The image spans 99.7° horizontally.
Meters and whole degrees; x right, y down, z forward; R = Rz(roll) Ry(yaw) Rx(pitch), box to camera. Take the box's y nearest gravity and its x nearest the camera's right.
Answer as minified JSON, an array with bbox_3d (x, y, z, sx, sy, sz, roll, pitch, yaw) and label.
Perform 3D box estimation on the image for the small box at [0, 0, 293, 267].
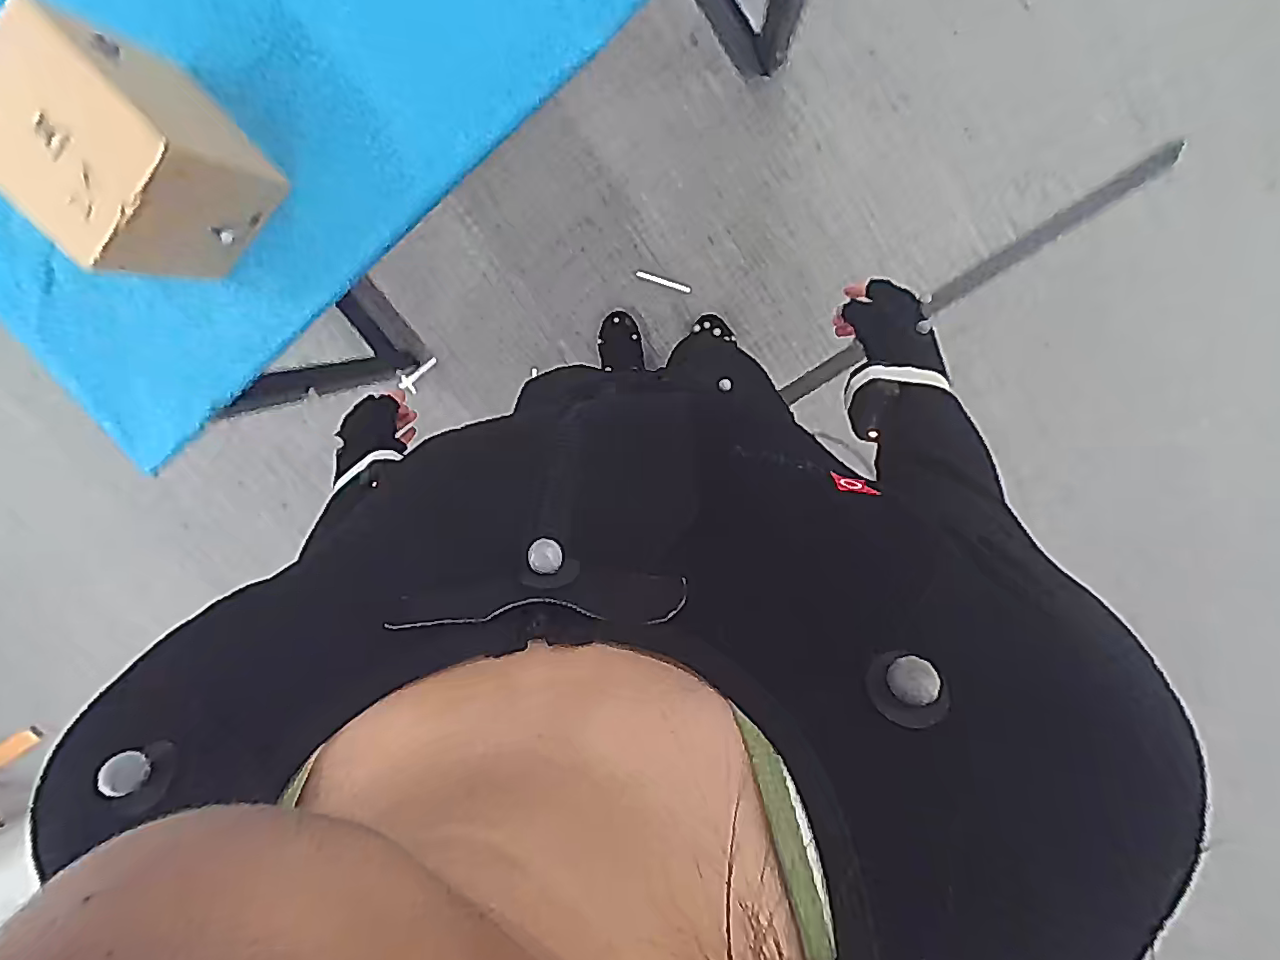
[{"bbox_3d":[-0.542,-0.355,0.593,0.168,0.176,0.179,-35,103,16],"label":"small box"}]
